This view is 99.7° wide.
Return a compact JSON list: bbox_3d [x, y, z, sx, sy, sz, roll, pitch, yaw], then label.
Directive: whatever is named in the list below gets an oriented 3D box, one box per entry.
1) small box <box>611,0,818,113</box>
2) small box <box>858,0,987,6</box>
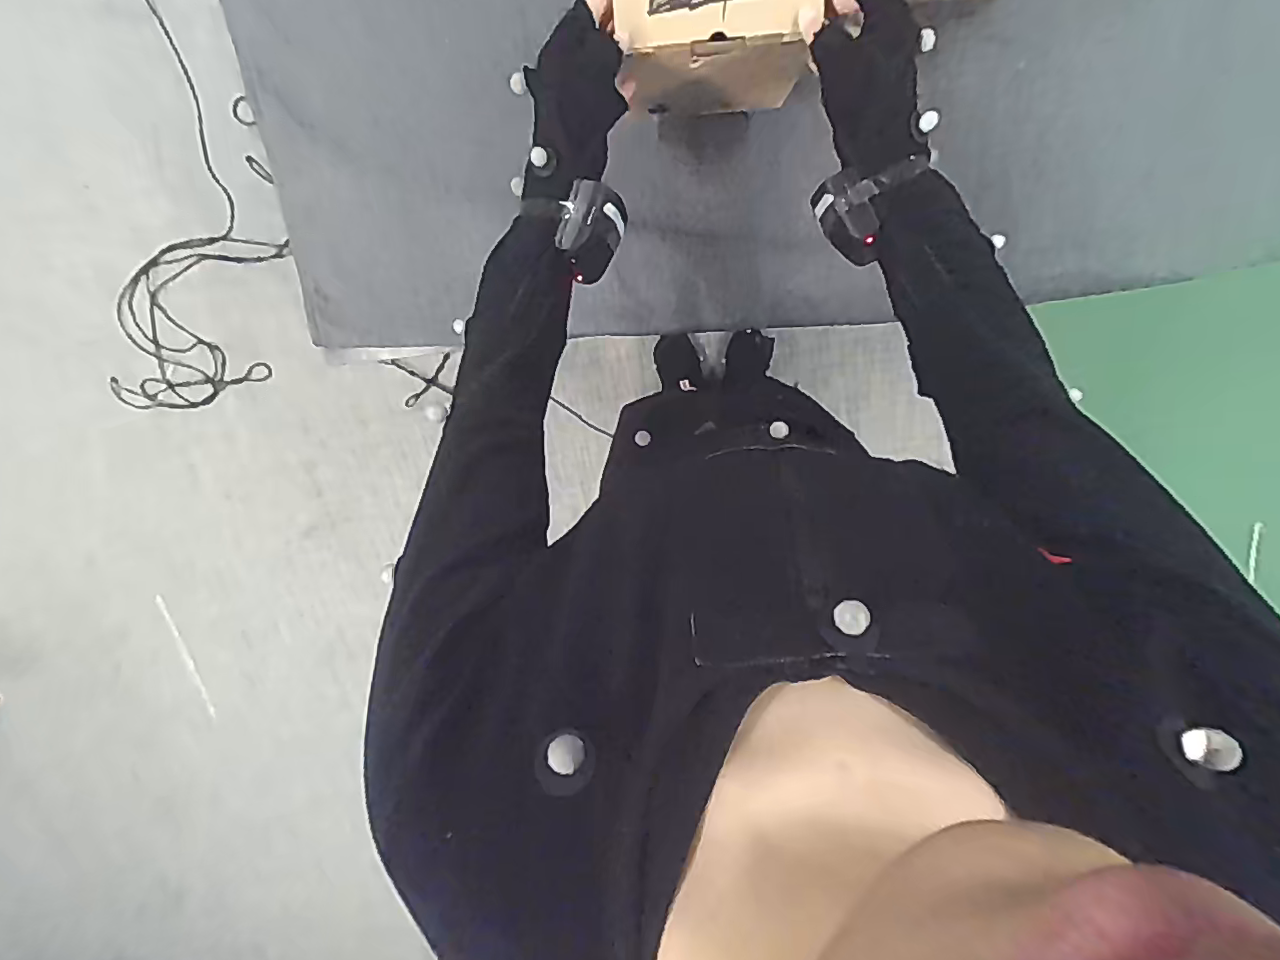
[{"bbox_3d":[0.062,-0.455,0.485,0.168,0.176,0.179,-2,107,4],"label":"small box"},{"bbox_3d":[0.293,-0.567,0.473,0.168,0.176,0.179,1,106,5],"label":"small box"}]
